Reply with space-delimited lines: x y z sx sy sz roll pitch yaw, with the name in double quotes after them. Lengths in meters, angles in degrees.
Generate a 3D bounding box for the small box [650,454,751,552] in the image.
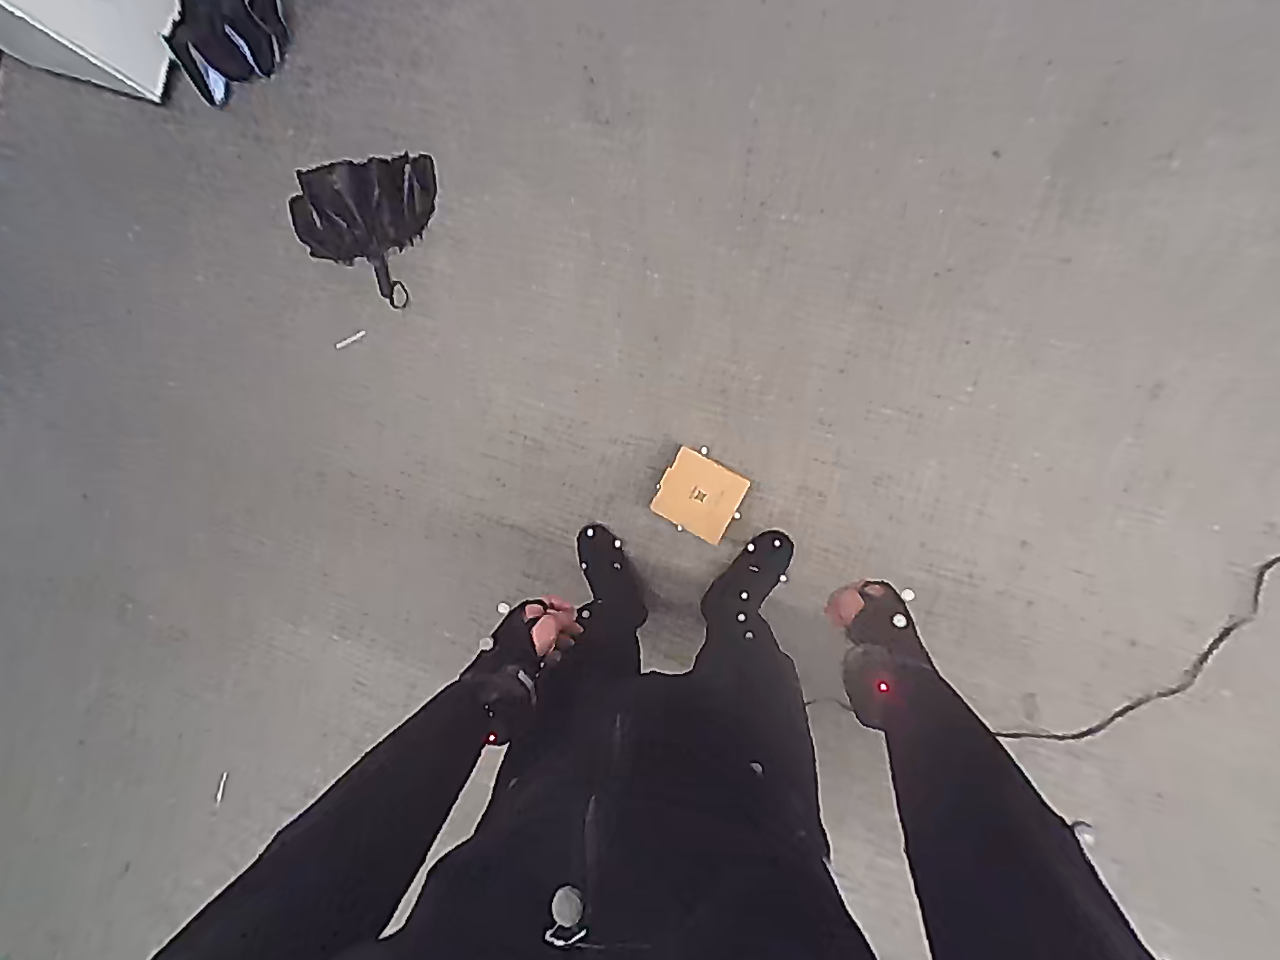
0.148 0.051 1.290 0.179 0.176 0.168 29 97 8 "small box"
